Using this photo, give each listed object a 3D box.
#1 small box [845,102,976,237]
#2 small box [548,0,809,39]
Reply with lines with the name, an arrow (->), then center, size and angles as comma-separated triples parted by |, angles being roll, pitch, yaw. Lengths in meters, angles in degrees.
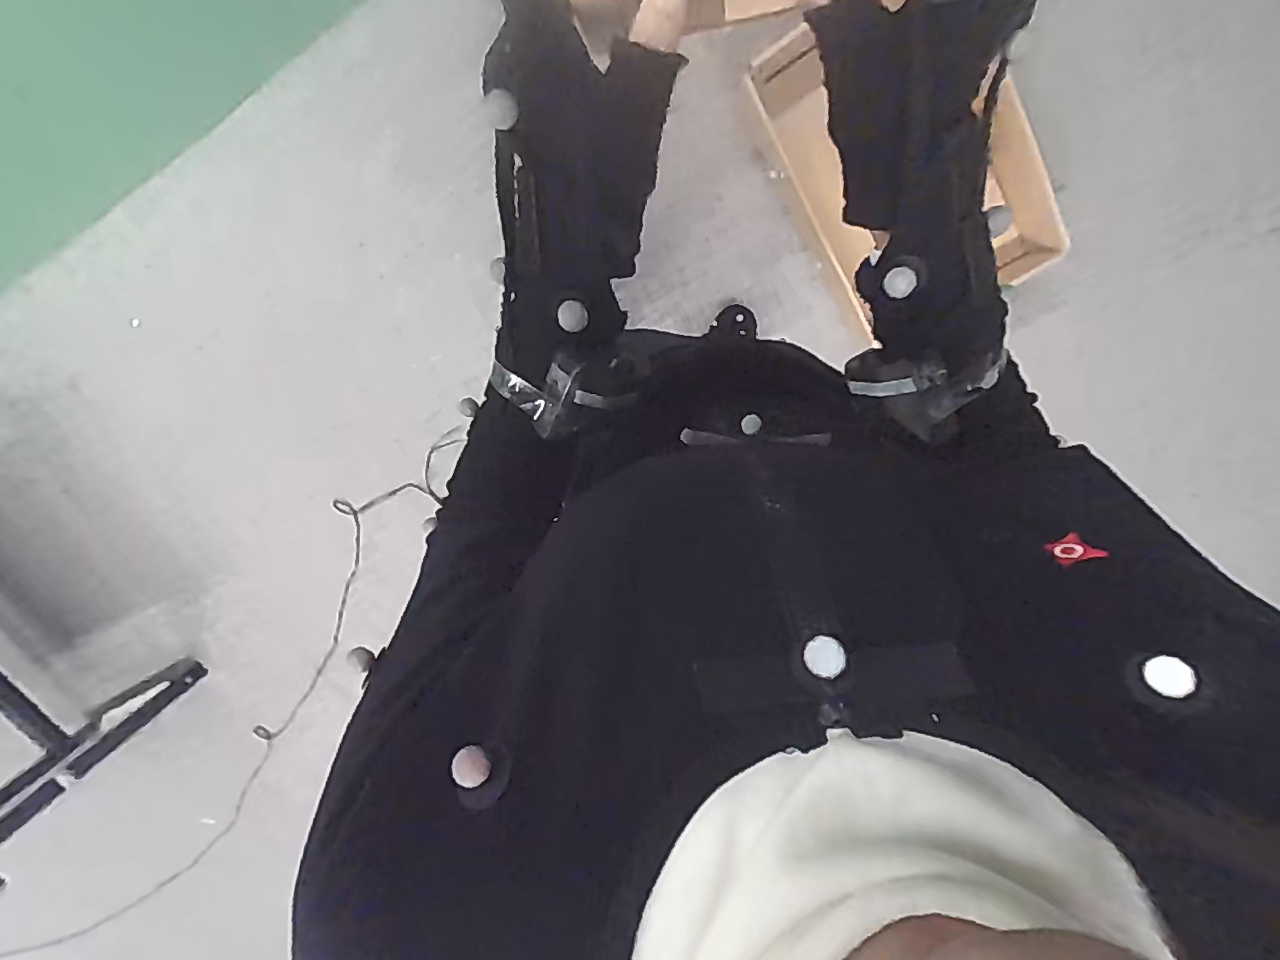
small box -> 0.542, -0.614, 1.100 | 0.168, 0.176, 0.179 | -22, 104, 11
small box -> 0.027, -0.320, 0.235 | 0.168, 0.176, 0.179 | -9, 121, 5
